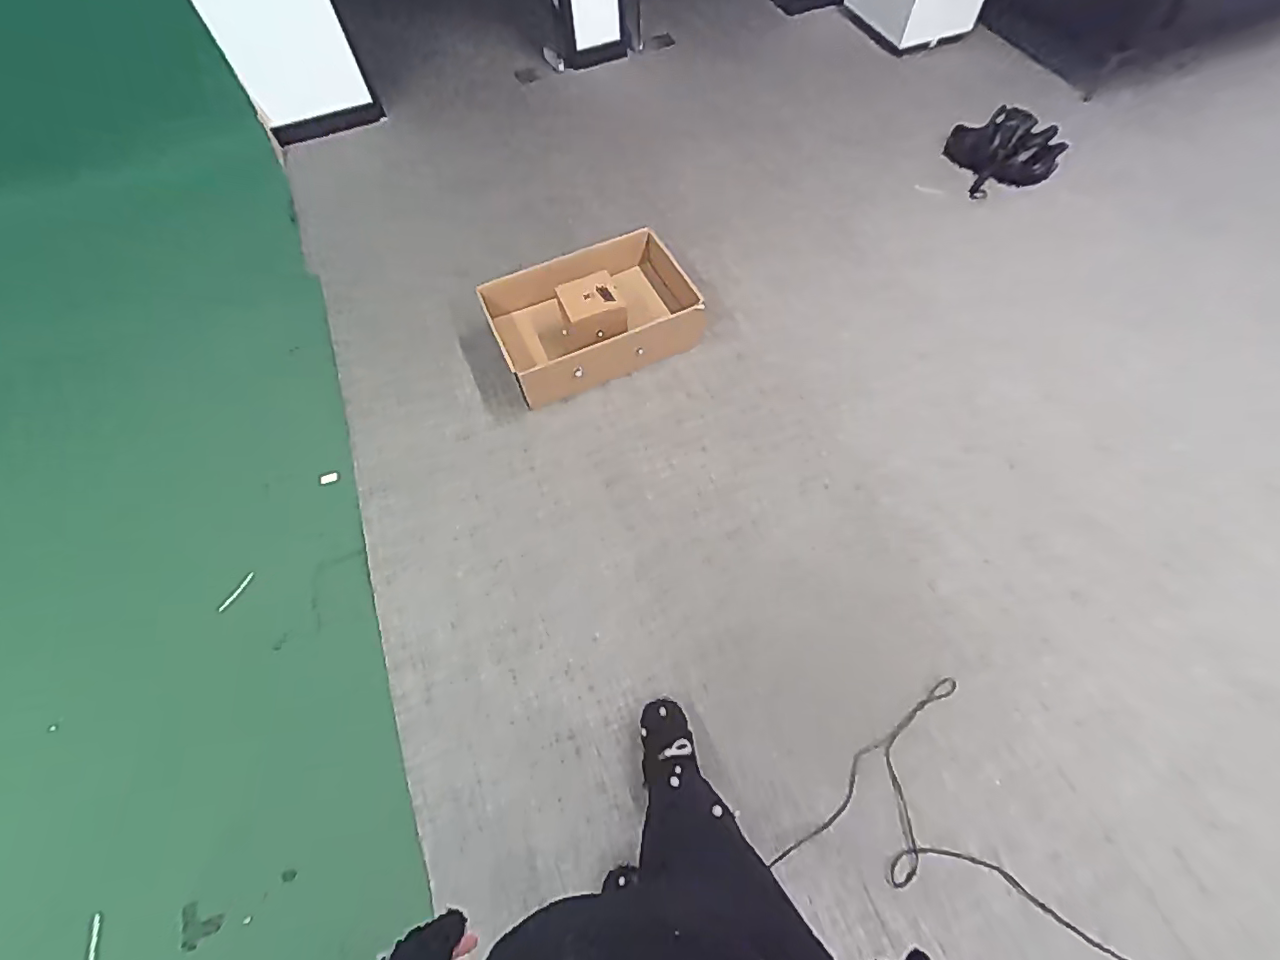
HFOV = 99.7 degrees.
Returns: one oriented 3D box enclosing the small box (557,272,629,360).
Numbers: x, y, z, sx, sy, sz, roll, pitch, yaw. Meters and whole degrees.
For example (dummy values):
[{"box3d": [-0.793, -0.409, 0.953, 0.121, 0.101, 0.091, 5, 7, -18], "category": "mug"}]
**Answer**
[{"box3d": [-0.144, -0.511, 1.696, 0.179, 0.176, 0.168, -23, 63, -11], "category": "small box"}]
